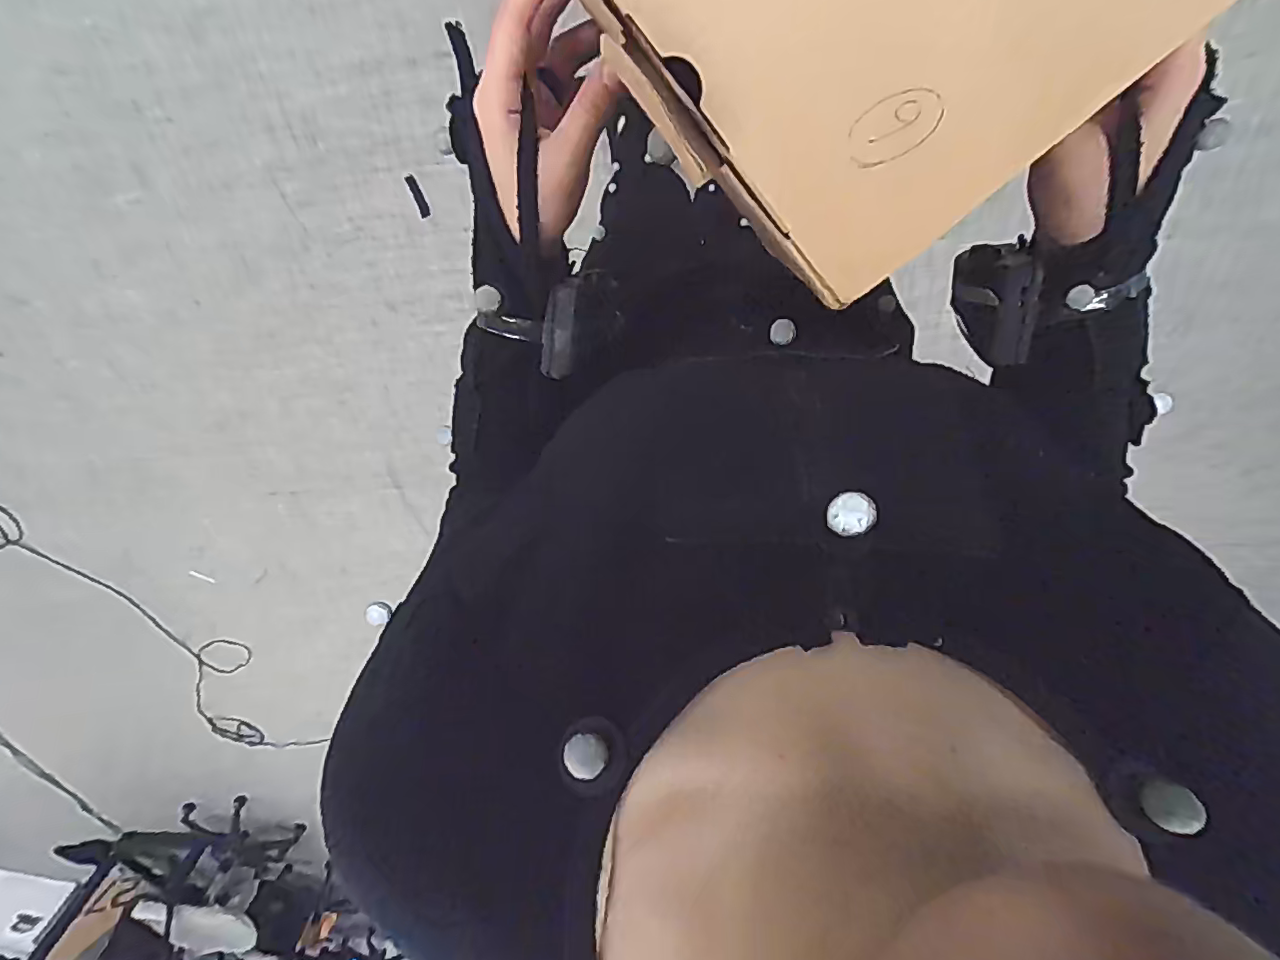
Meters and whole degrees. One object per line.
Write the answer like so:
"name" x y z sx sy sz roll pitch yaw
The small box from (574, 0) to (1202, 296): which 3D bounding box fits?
"small box" 0.080 -0.203 0.204 0.179 0.176 0.168 -39 108 24
